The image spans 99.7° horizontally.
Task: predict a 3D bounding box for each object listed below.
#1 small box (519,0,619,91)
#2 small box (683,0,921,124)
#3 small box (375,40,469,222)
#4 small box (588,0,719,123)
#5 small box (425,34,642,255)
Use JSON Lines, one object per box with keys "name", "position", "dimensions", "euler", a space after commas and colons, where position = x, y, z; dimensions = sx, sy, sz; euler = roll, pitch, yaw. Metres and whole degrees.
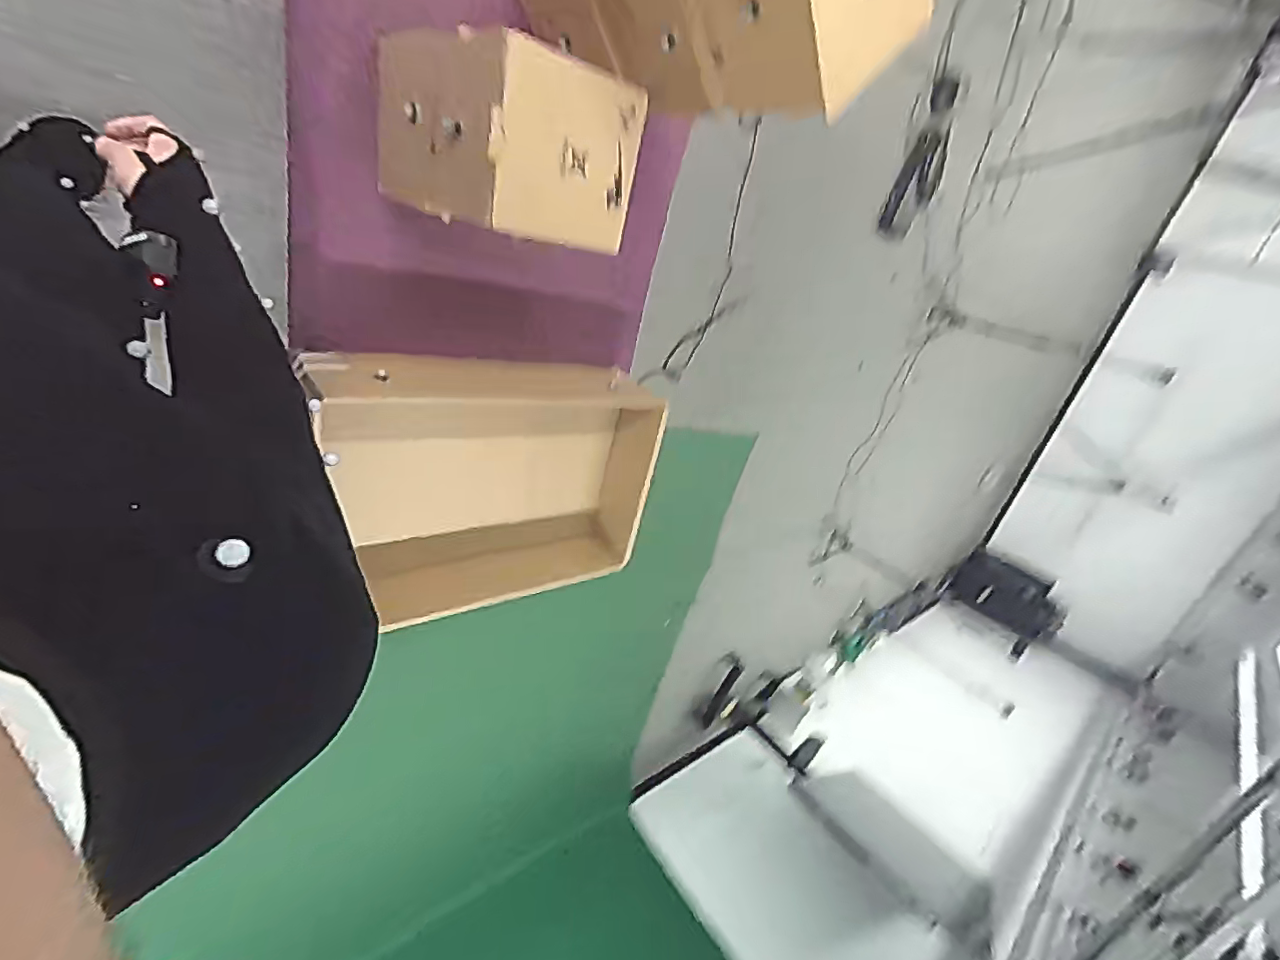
{"name": "small box", "position": [-0.046, -0.658, 0.763], "dimensions": [0.179, 0.176, 0.168], "euler": [-46, 142, -9]}
{"name": "small box", "position": [0.162, -0.507, 0.564], "dimensions": [0.179, 0.176, 0.168], "euler": [-47, 140, -7]}
{"name": "small box", "position": [-0.240, -0.447, 0.720], "dimensions": [0.168, 0.176, 0.179], "euler": [-11, 125, -42]}
{"name": "small box", "position": [0.058, -0.578, 0.666], "dimensions": [0.168, 0.176, 0.179], "euler": [-45, 141, -8]}
{"name": "small box", "position": [-0.131, -0.373, 0.623], "dimensions": [0.179, 0.176, 0.168], "euler": [-9, 124, -42]}
